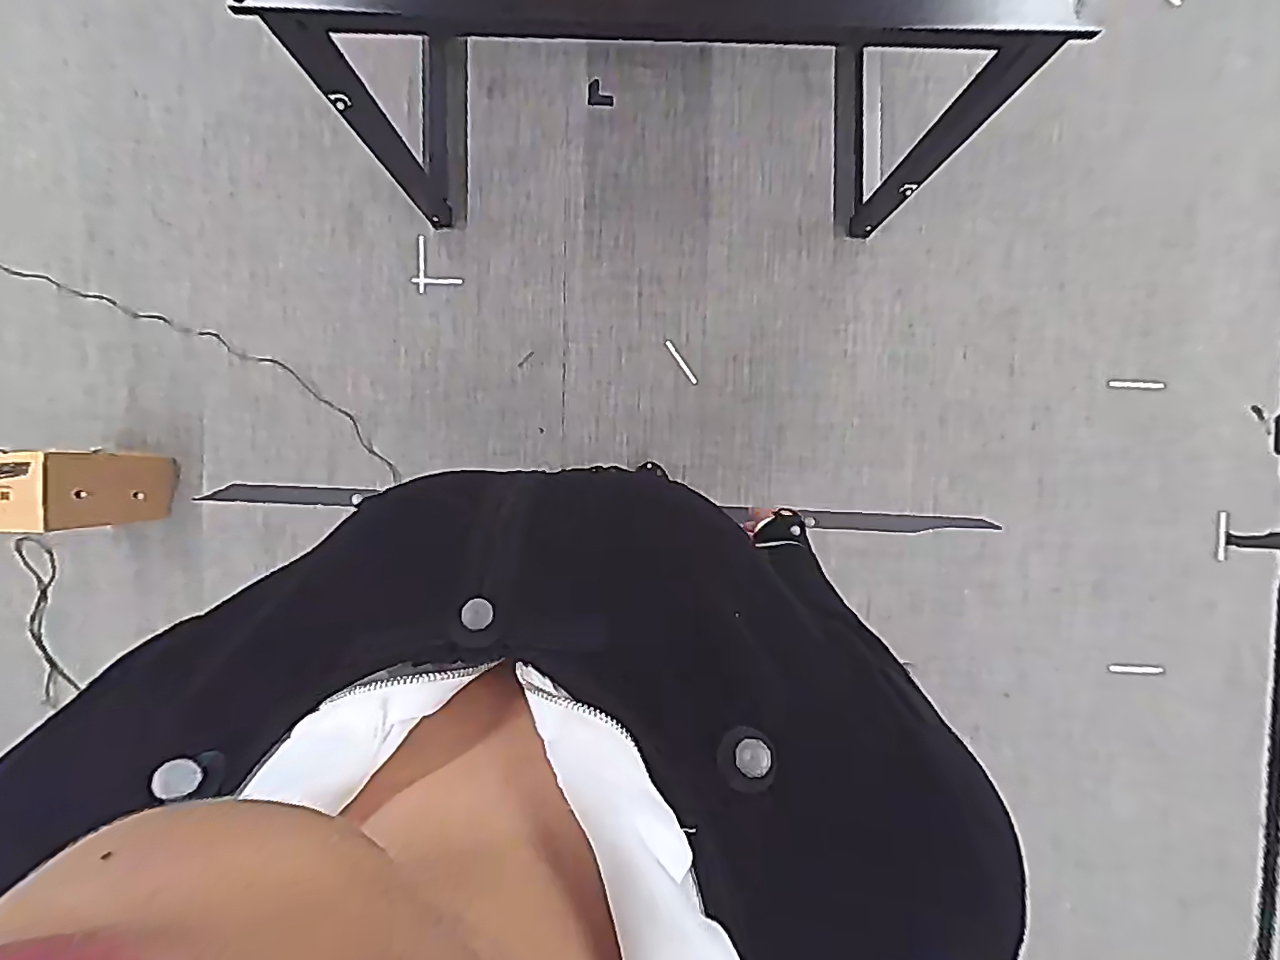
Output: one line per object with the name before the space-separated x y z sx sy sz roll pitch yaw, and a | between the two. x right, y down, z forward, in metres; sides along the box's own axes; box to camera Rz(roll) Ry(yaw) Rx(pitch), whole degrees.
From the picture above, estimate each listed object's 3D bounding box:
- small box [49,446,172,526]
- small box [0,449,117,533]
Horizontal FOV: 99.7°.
small box | -1.356 0.012 1.387 0.168 0.176 0.179 8 92 -1
small box | -1.341 0.021 1.223 0.168 0.176 0.179 1 92 -1
